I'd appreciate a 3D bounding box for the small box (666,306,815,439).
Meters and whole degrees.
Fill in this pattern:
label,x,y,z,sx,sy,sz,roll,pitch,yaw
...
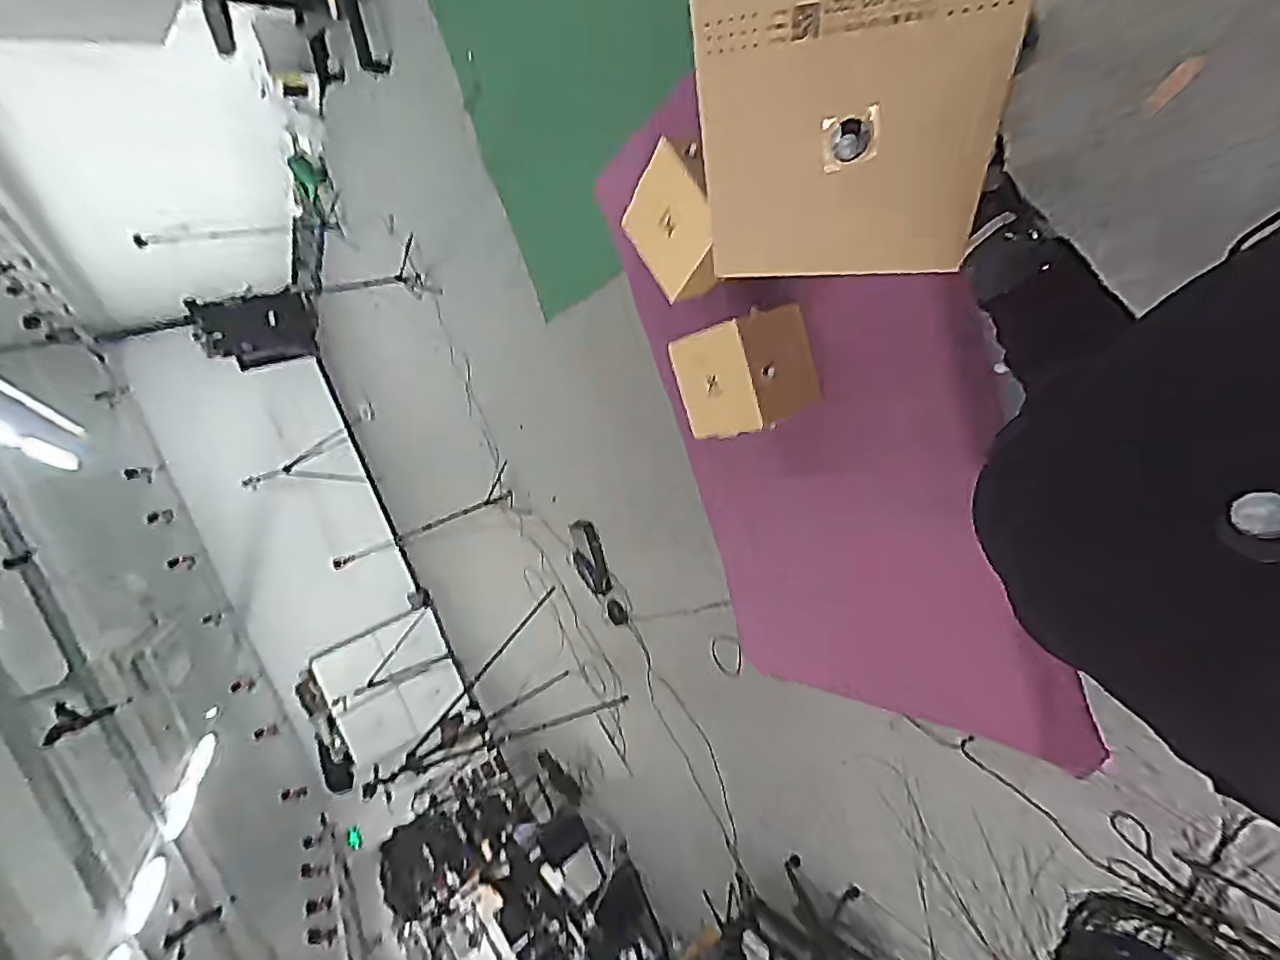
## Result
label,x,y,z,sx,sy,sz,roll,pitch,yaw
small box,0.177,-0.183,0.935,0.168,0.176,0.179,-3,107,54

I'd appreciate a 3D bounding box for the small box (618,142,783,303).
label,x,y,z,sx,sy,sz,roll,pitch,yaw
small box,0.098,-0.426,0.889,0.179,0.176,0.168,59,147,9
